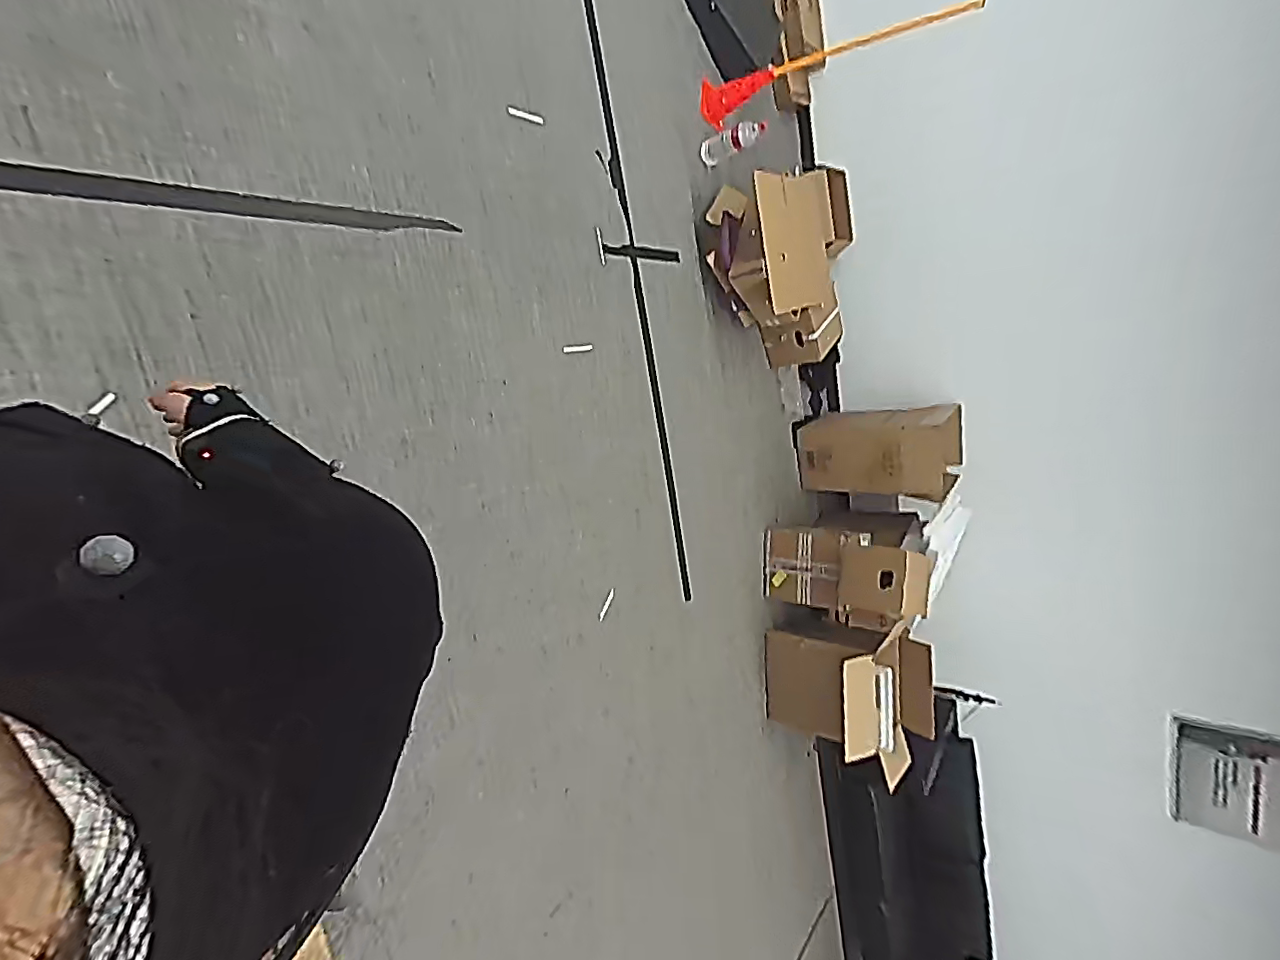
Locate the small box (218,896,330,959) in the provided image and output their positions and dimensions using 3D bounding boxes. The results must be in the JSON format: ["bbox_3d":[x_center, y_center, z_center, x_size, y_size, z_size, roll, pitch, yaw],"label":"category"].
[{"bbox_3d":[-0.840,1.113,1.248,0.168,0.176,0.179,-19,103,-47],"label":"small box"}]
